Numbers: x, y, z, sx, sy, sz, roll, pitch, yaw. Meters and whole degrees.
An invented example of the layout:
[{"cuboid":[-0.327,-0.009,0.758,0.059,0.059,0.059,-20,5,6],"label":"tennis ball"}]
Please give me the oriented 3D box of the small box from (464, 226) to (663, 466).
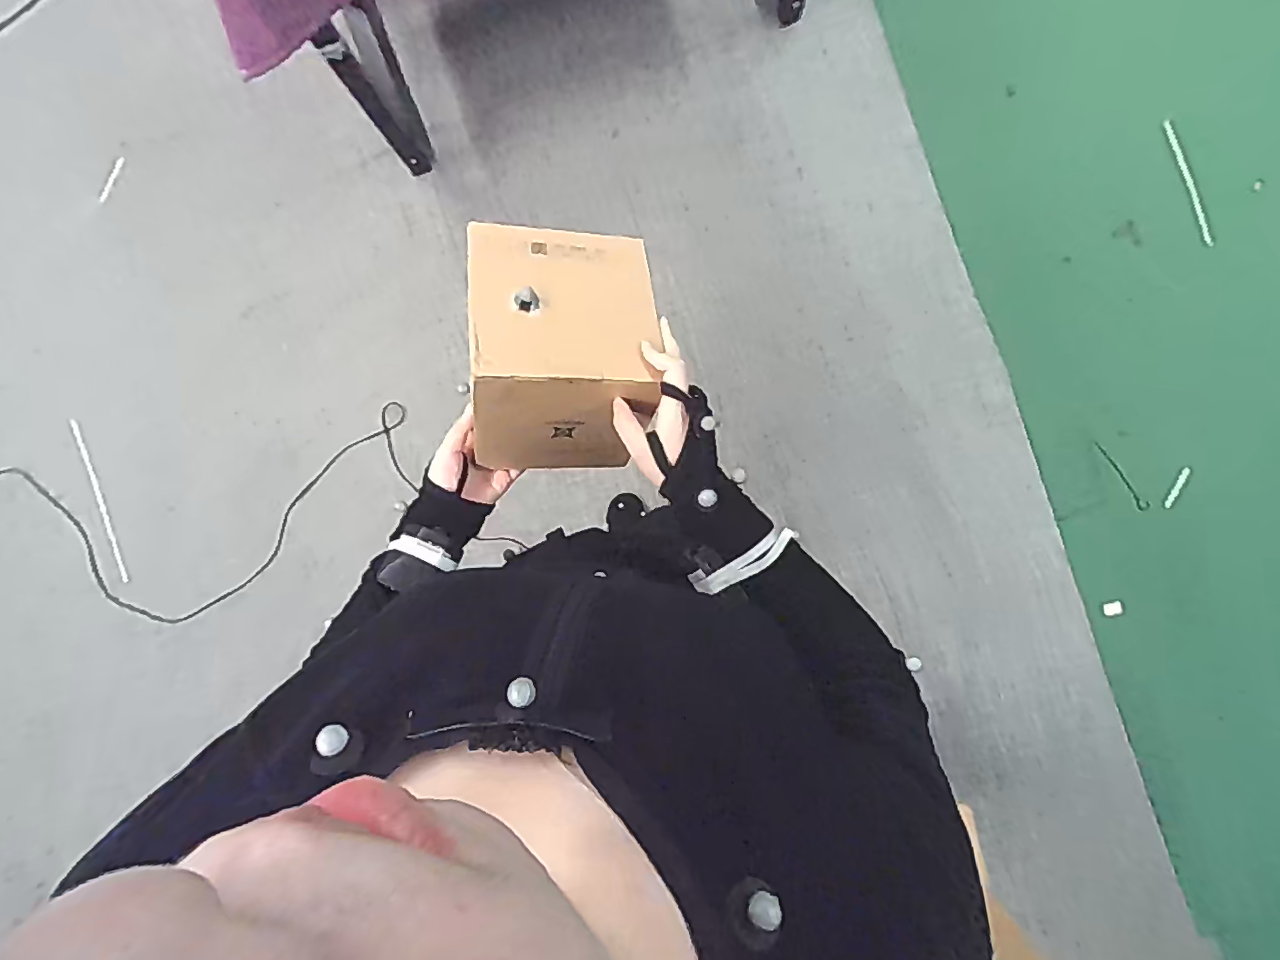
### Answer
[{"cuboid":[-0.090,-0.126,0.549,0.168,0.179,0.176,-1,67,-17],"label":"small box"}]
